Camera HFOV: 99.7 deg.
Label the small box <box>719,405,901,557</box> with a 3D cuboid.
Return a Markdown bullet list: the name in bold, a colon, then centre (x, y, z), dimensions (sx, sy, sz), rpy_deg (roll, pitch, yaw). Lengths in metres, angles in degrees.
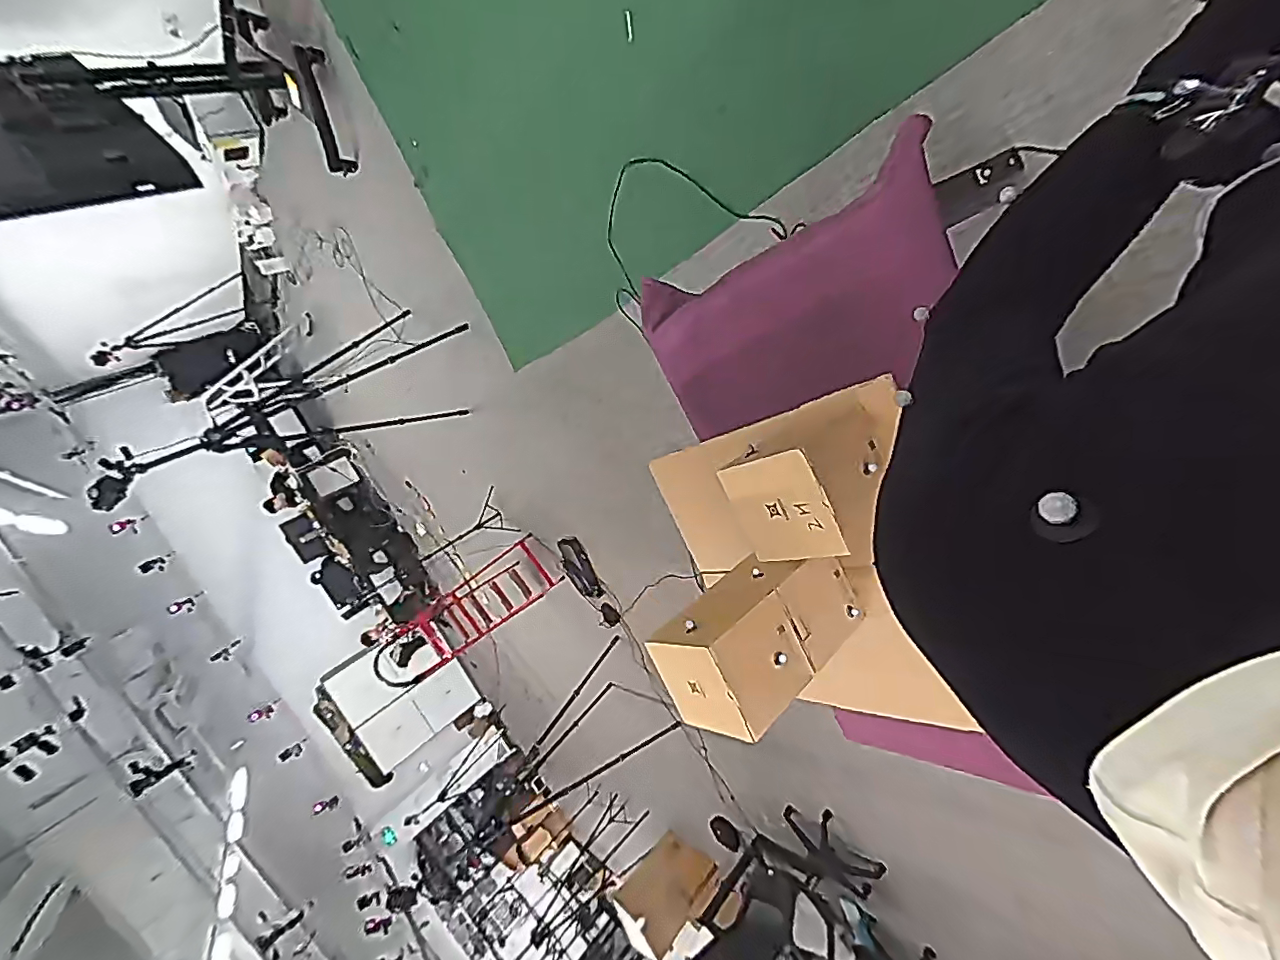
- **small box**: centre (0.262, 0.003, 0.834), dimensions (0.179, 0.176, 0.168), rpy_deg (-17, 102, 54)

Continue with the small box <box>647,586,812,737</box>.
- **small box**: centre (0.149, 0.290, 0.902), dimensions (0.179, 0.176, 0.168), rpy_deg (-20, 98, 54)

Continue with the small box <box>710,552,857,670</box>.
- **small box**: centre (0.268, 0.219, 0.987), dimensions (0.179, 0.176, 0.168), rpy_deg (-18, 99, 56)
